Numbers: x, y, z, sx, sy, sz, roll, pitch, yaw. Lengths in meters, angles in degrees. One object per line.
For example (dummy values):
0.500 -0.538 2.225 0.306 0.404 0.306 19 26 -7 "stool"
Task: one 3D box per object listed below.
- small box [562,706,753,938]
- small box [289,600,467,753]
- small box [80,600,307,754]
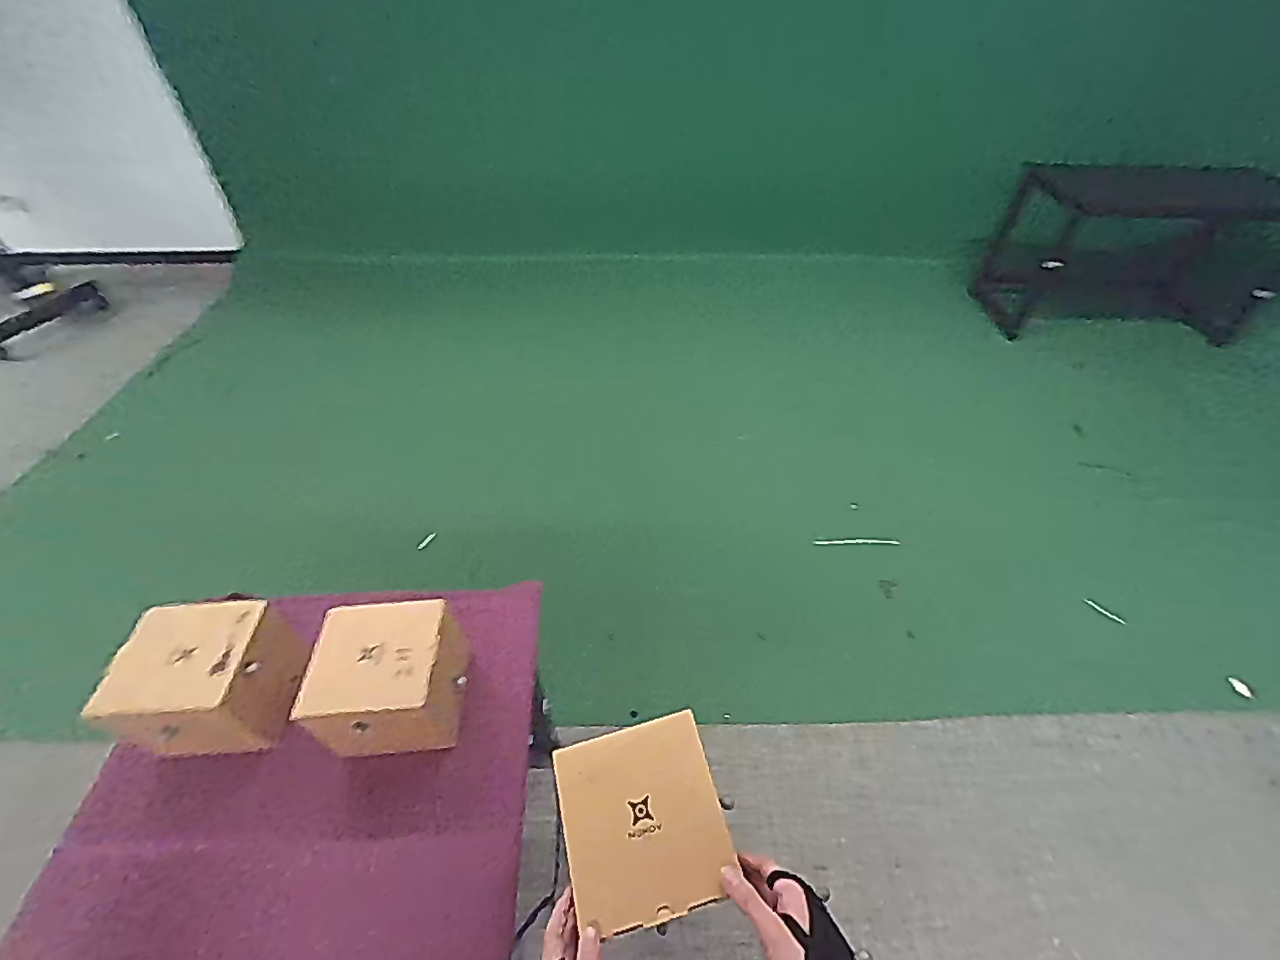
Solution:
0.016 0.388 0.620 0.168 0.176 0.179 -14 54 -5 "small box"
-0.381 0.302 0.825 0.179 0.176 0.168 -3 47 -3 "small box"
-0.655 0.303 0.824 0.179 0.176 0.168 -3 46 -3 "small box"
